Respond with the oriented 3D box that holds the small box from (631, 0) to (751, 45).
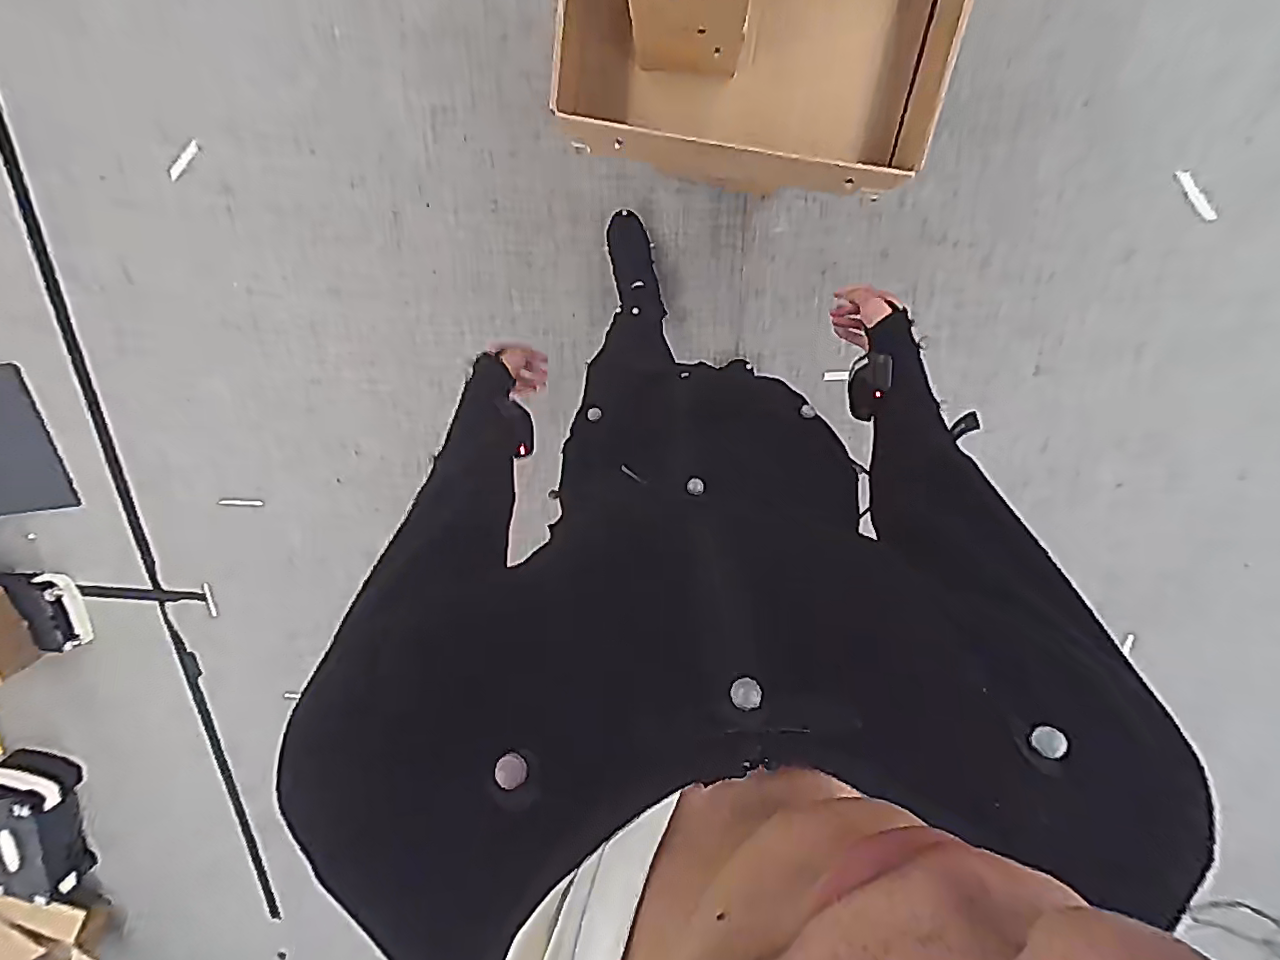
[{"bbox_3d":[0.074,-0.719,0.709,0.168,0.176,0.179,7,109,1],"label":"small box"}]
